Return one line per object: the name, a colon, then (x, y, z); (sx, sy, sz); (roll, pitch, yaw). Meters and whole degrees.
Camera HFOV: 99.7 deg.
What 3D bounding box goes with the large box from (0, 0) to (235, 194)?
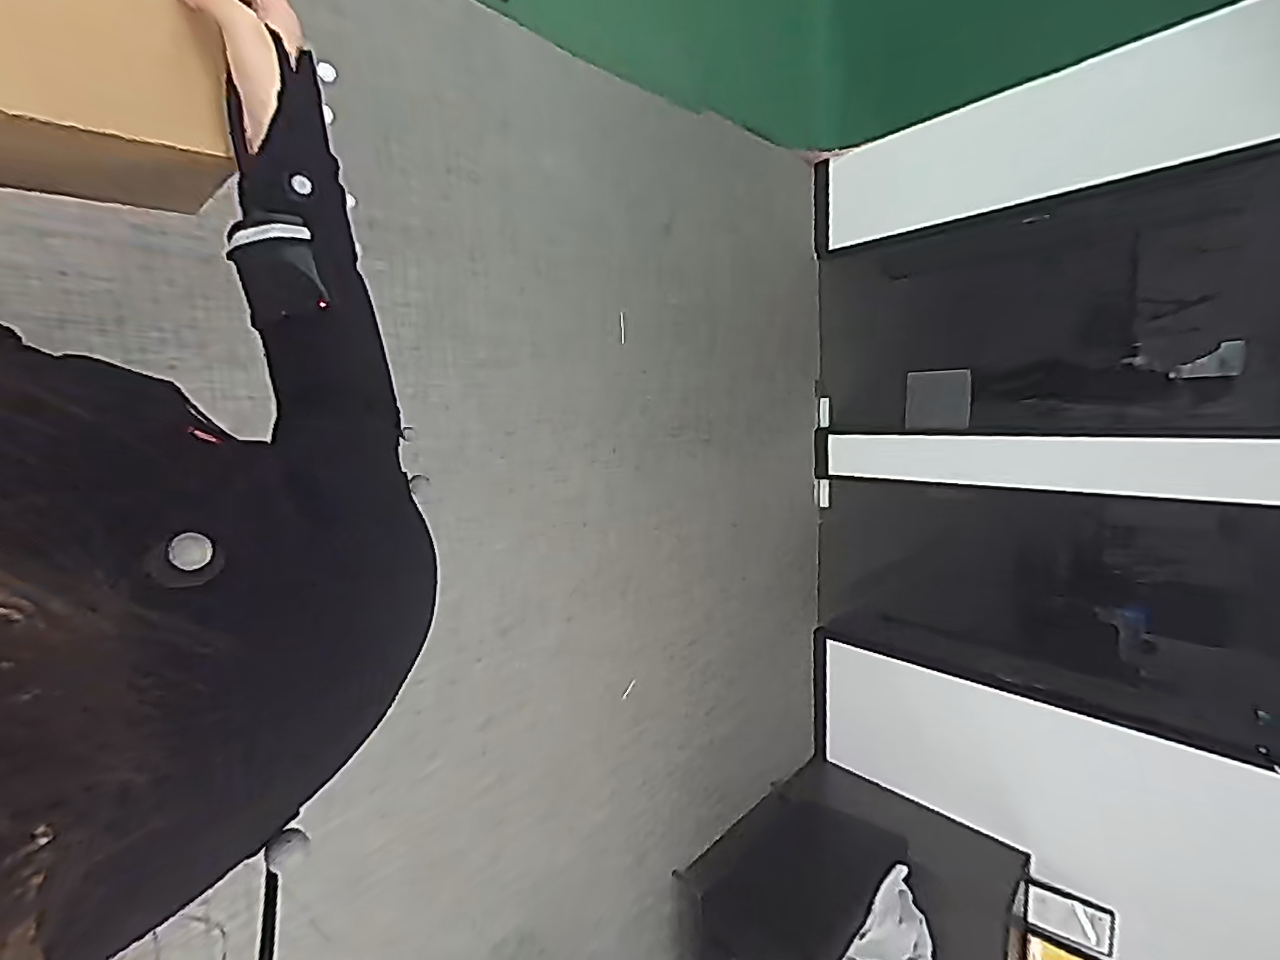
large box: (-0.543, -0.397, 0.338); (0.408, 0.320, 0.320); (-12, 110, -42)
